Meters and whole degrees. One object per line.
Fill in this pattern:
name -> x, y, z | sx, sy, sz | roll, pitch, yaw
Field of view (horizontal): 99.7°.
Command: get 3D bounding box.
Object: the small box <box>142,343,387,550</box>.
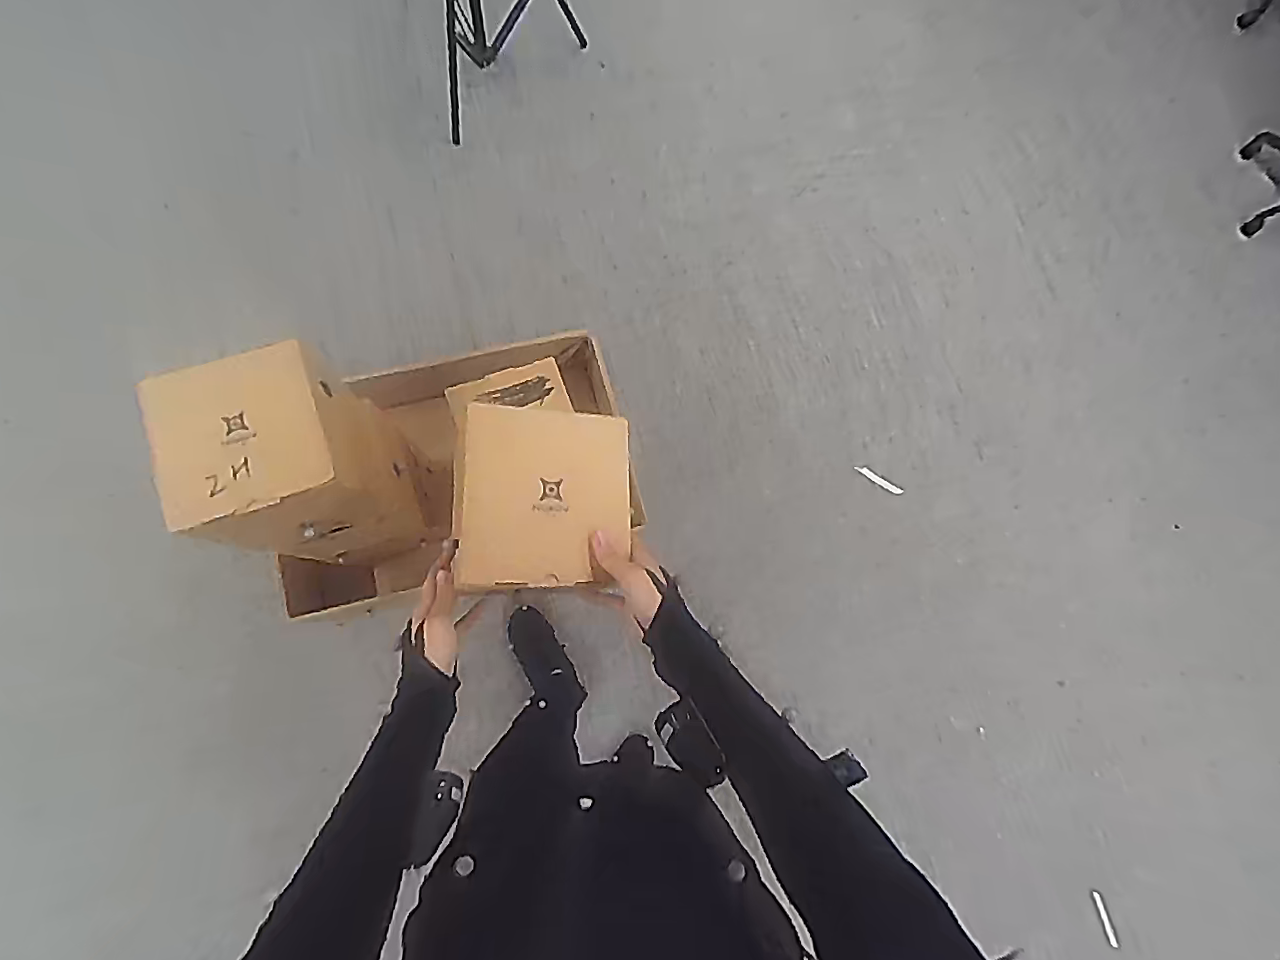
small box -> -0.429, -0.030, 0.645 | 0.168, 0.176, 0.179 | -19, 80, -11

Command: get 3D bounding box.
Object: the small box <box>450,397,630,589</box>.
small box -> -0.118, 0.026, 0.596 | 0.168, 0.176, 0.179 | 2, 77, -21

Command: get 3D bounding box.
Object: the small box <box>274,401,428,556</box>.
small box -> -0.434, 0.009, 0.806 | 0.168, 0.176, 0.179 | -18, 79, -11
